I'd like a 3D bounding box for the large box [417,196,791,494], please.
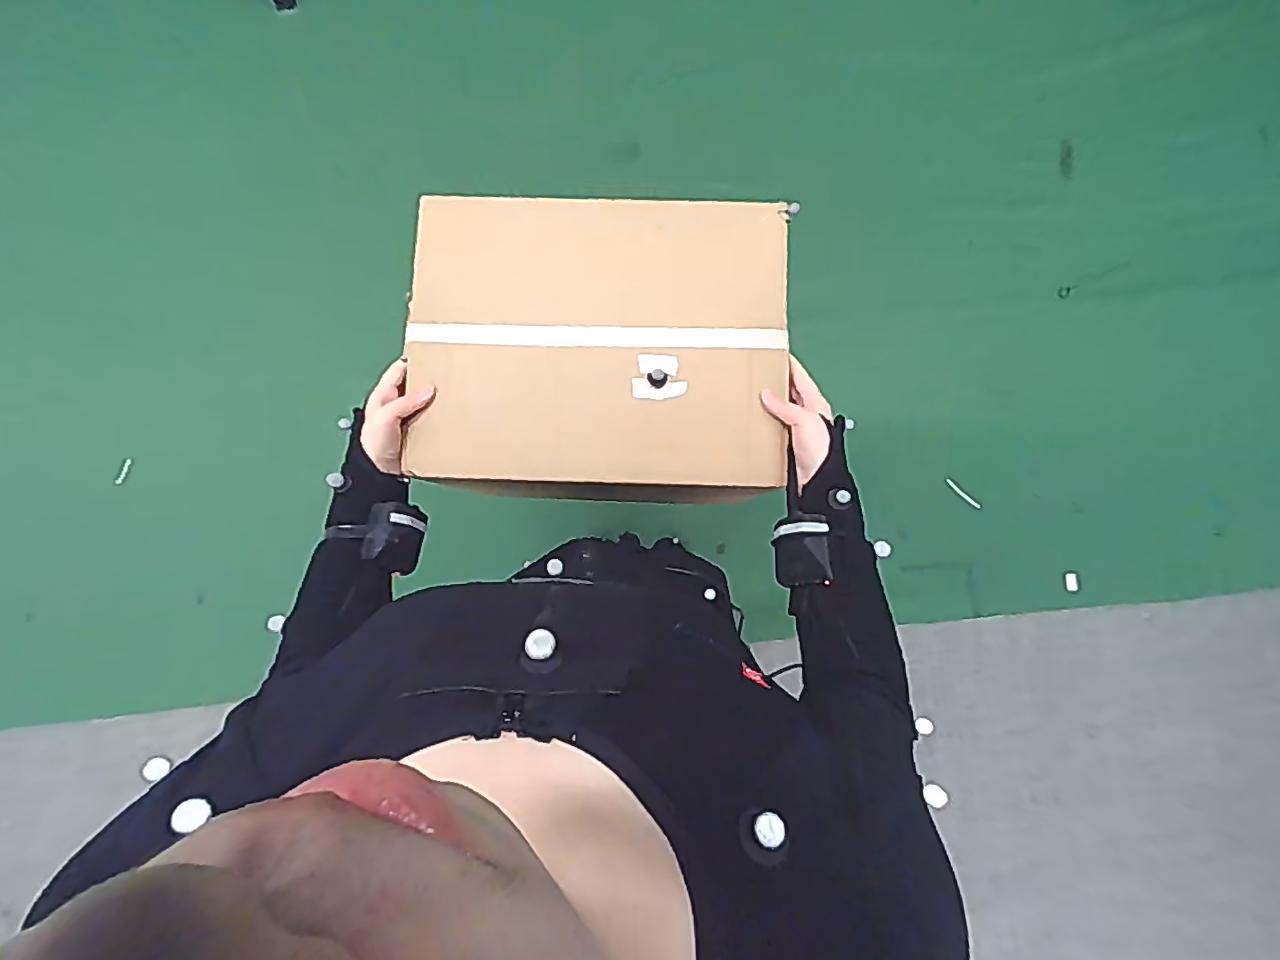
[{"bbox_3d":[-0.040,-0.146,0.732,0.408,0.320,0.320,1,85,0],"label":"large box"}]
